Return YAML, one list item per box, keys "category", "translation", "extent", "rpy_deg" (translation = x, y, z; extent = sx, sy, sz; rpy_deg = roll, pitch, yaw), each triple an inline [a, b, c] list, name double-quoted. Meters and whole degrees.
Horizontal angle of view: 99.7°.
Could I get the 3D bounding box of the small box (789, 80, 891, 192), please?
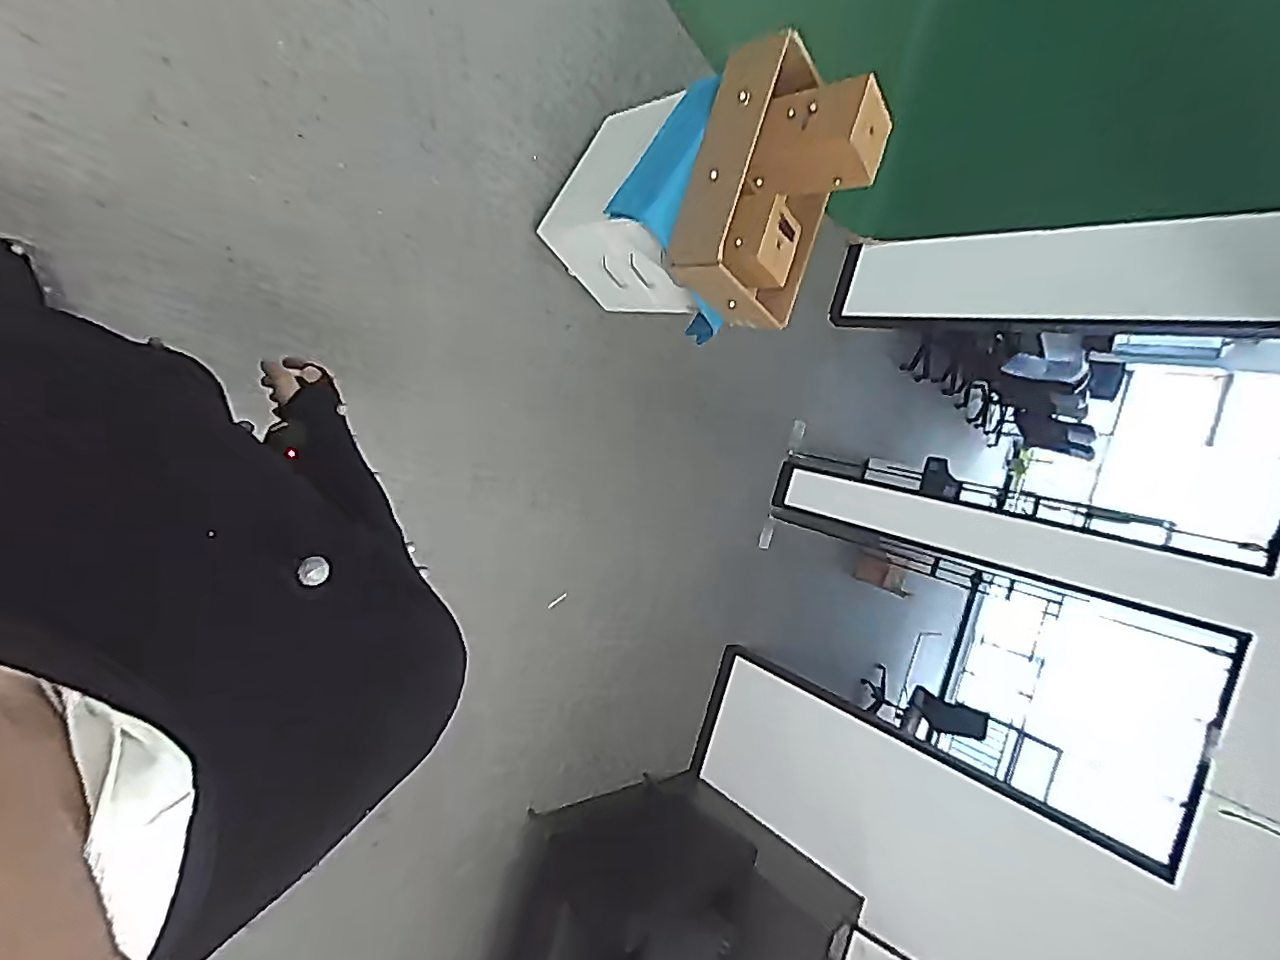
- category: "small box"
  translation: [0.507, -0.860, 1.374]
  extent: [0.179, 0.176, 0.168]
  rpy_deg: [20, 89, -49]
